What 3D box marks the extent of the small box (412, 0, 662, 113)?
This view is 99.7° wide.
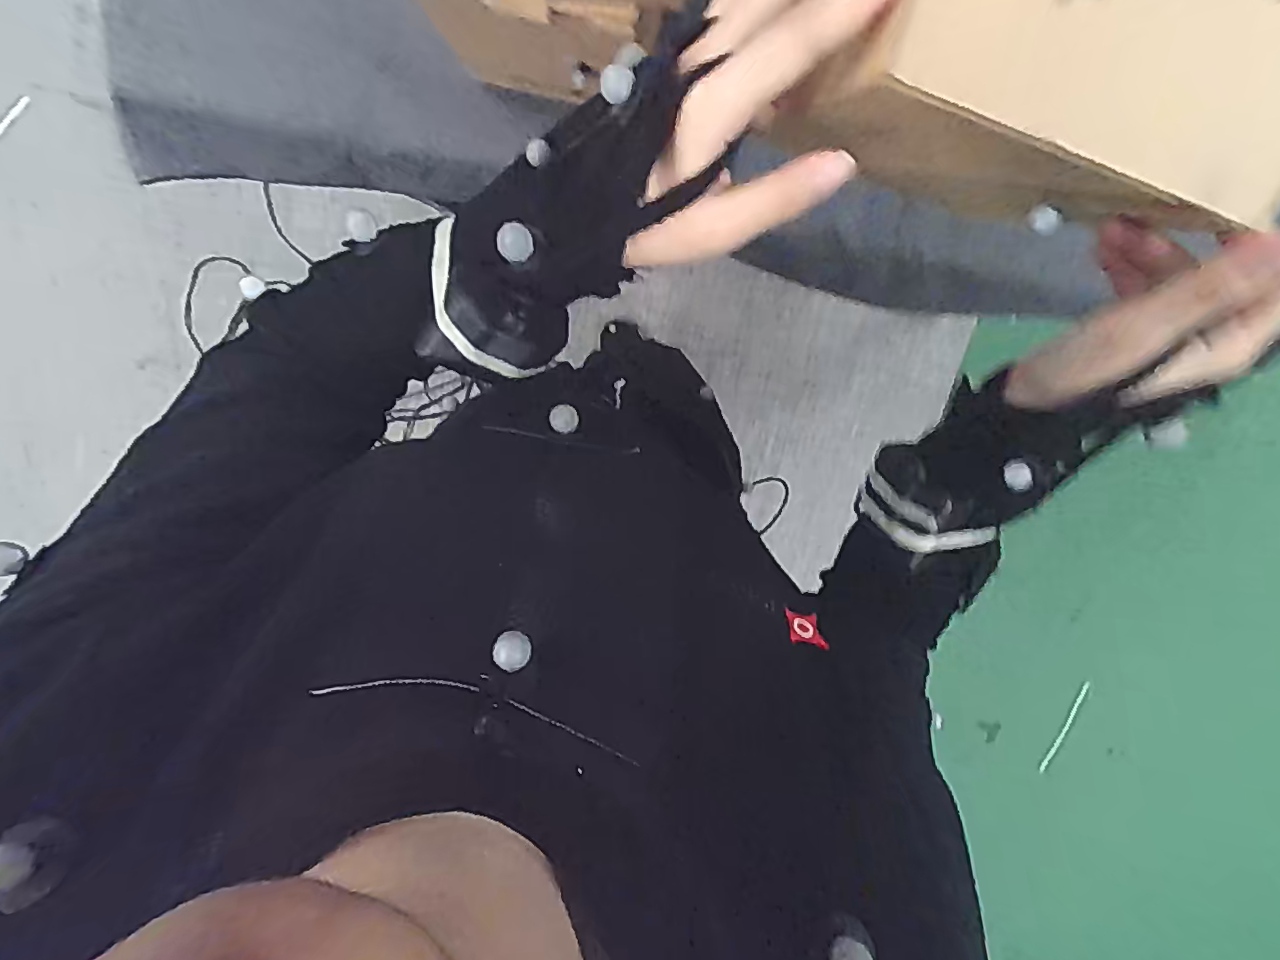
[{"bbox_3d":[-0.063,-0.416,0.411,0.168,0.176,0.179,11,105,-2],"label":"small box"}]

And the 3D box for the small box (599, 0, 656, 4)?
[{"bbox_3d":[-0.052,-0.371,0.255,0.179,0.176,0.168,4,106,-1],"label":"small box"}]
